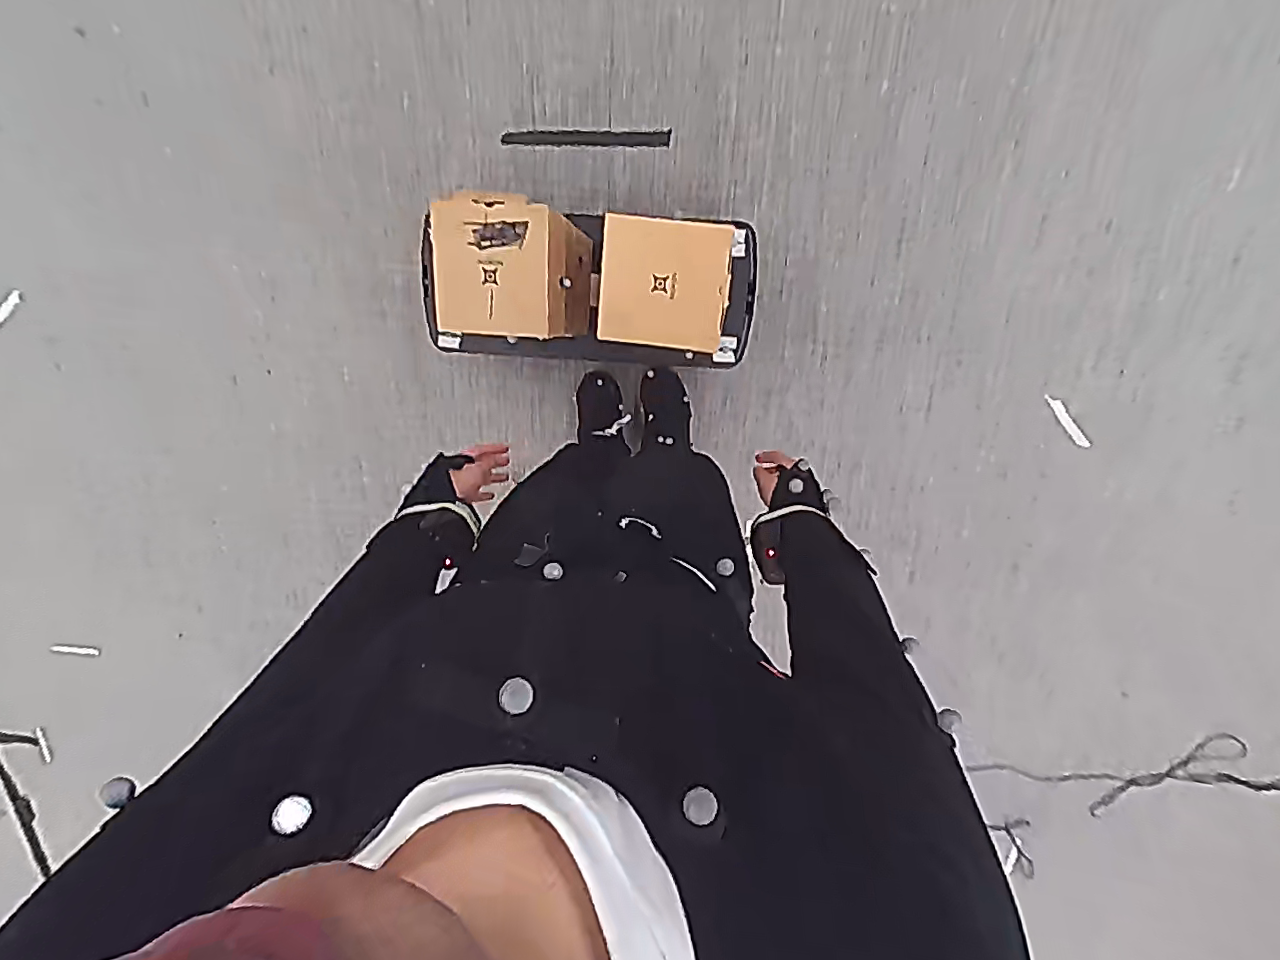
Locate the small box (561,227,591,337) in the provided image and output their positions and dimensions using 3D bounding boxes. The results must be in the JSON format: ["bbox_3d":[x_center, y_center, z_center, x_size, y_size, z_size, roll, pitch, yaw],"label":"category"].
[{"bbox_3d":[-0.185,-0.359,0.987,0.168,0.176,0.179,6,107,3],"label":"small box"}]

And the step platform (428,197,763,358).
[{"bbox_3d":[-0.089,-0.420,1.142,0.684,0.204,0.286,4,107,4],"label":"step platform"}]

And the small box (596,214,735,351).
[{"bbox_3d":[0.037,-0.292,0.819,0.179,0.176,0.168,6,107,2],"label":"small box"}]

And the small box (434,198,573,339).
[{"bbox_3d":[-0.200,-0.315,0.829,0.168,0.176,0.179,5,107,3],"label":"small box"}]
